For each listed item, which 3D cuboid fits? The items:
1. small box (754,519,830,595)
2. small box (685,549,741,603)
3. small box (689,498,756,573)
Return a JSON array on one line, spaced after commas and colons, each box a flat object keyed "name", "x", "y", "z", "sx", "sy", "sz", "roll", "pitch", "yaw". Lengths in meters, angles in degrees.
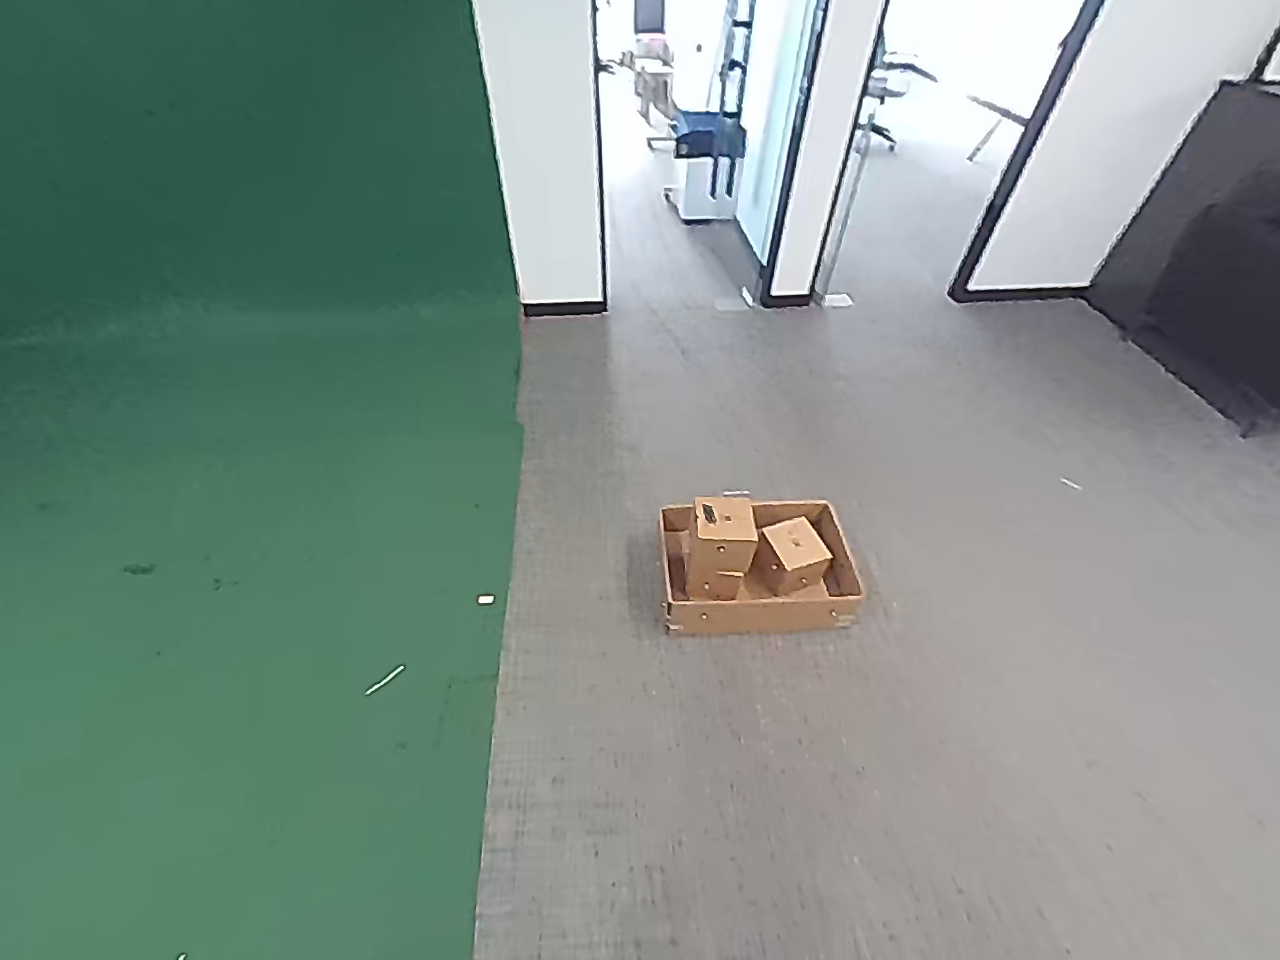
[{"name": "small box", "x": 0.502, "y": 0.264, "z": 1.808, "sx": 0.168, "sy": 0.176, "sz": 0.179, "roll": -14, "pitch": 48, "yaw": -14}, {"name": "small box", "x": 0.241, "y": 0.286, "z": 1.783, "sx": 0.168, "sy": 0.176, "sz": 0.179, "roll": 7, "pitch": 46, "yaw": 4}, {"name": "small box", "x": 0.246, "y": 0.174, "z": 1.663, "sx": 0.179, "sy": 0.176, "sz": 0.168, "roll": 2, "pitch": 46, "yaw": -2}]
